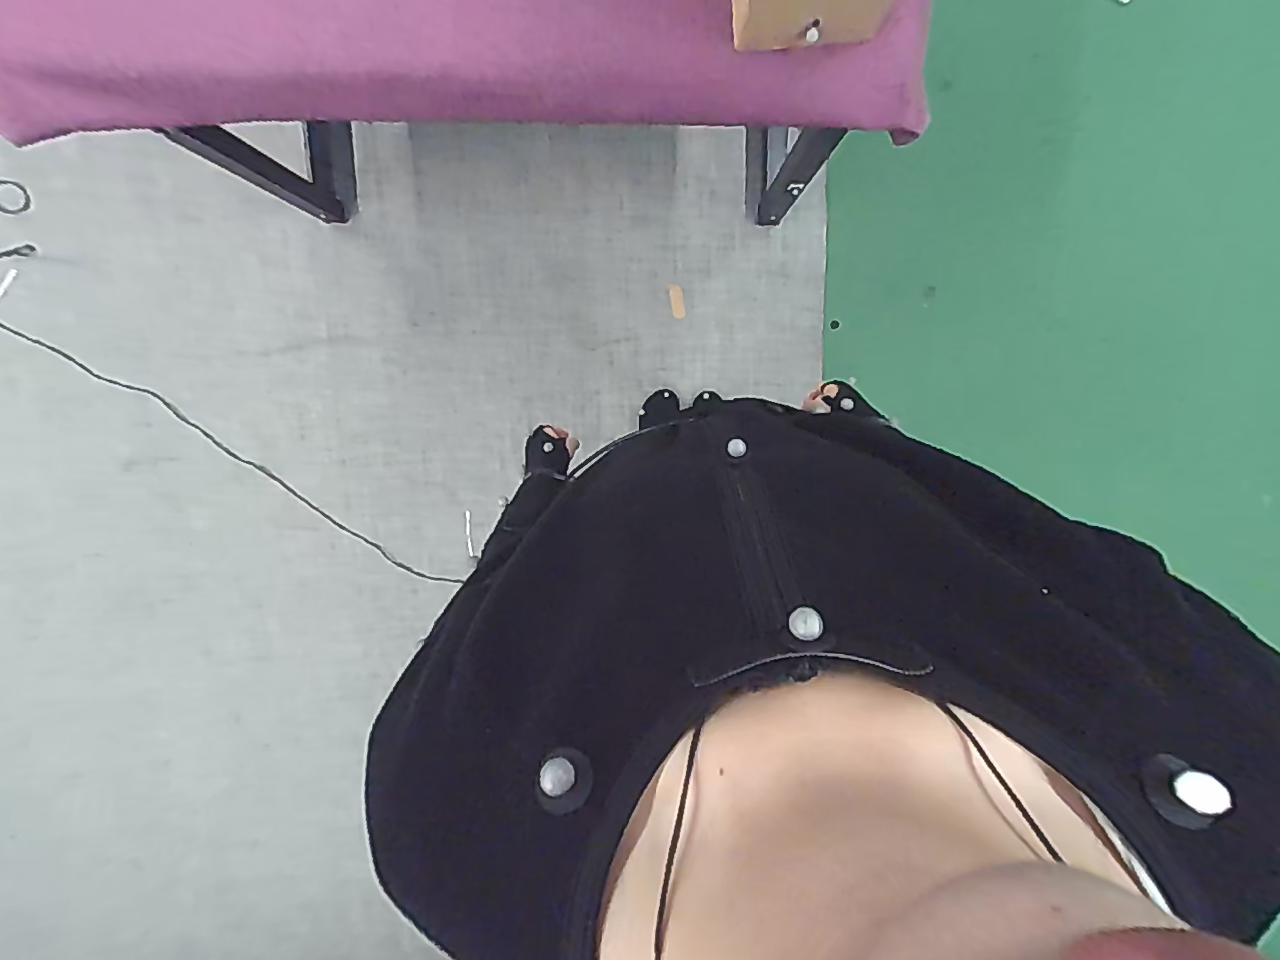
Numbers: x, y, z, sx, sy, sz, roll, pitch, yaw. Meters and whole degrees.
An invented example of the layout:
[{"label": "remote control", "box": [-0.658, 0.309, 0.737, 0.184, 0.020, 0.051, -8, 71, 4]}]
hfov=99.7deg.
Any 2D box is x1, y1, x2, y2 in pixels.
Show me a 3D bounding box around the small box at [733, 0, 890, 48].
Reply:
[{"label": "small box", "box": [0.200, -0.616, 0.590, 0.179, 0.176, 0.168, -4, 99, 2]}]
